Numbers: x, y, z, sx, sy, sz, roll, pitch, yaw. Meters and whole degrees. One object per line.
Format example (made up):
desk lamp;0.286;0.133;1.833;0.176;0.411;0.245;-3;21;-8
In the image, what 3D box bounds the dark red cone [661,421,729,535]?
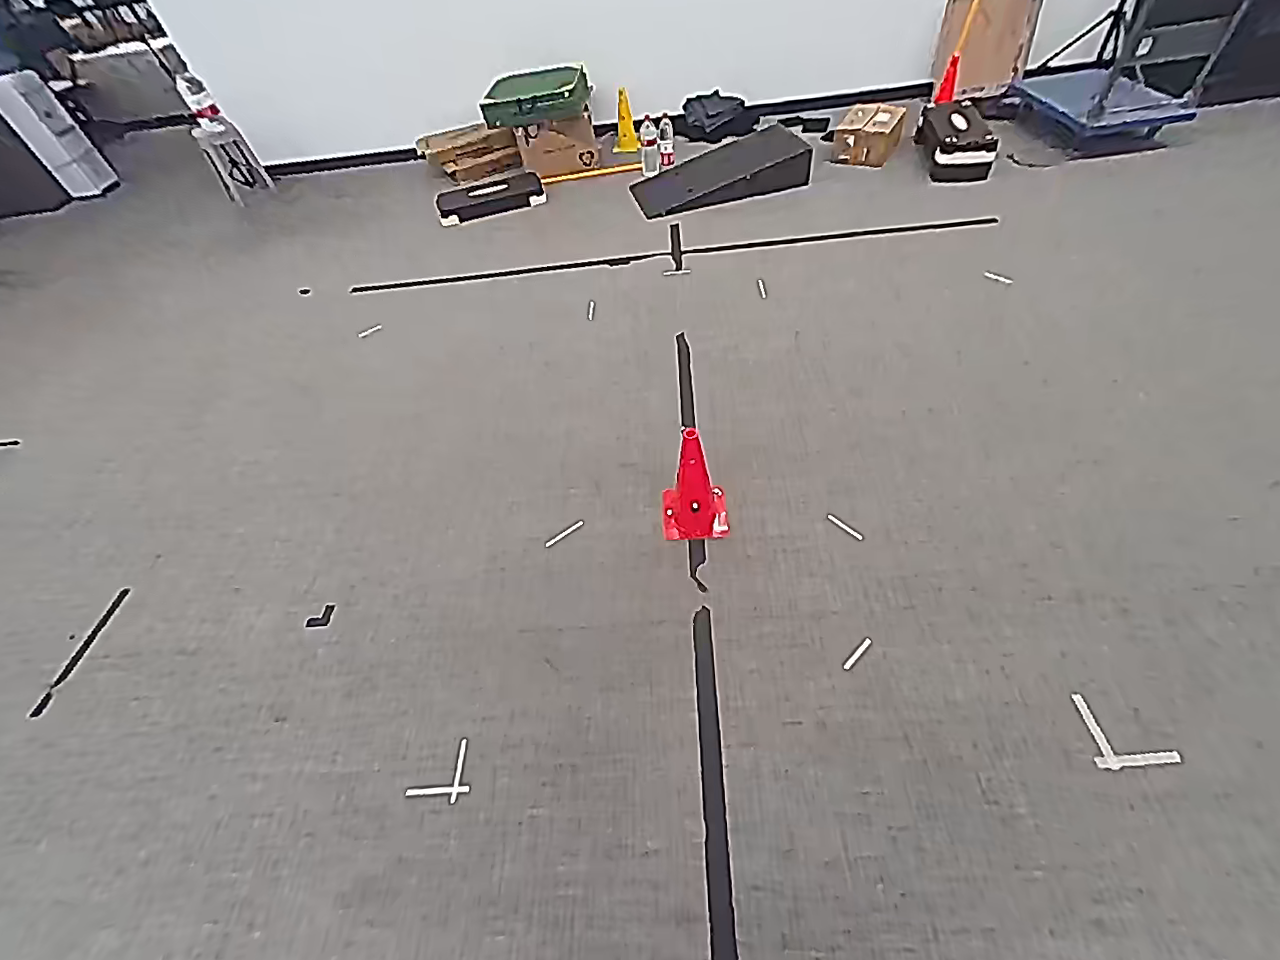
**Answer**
dark red cone;0.149;-0.020;1.559;0.201;0.394;0.202;-5;49;5
